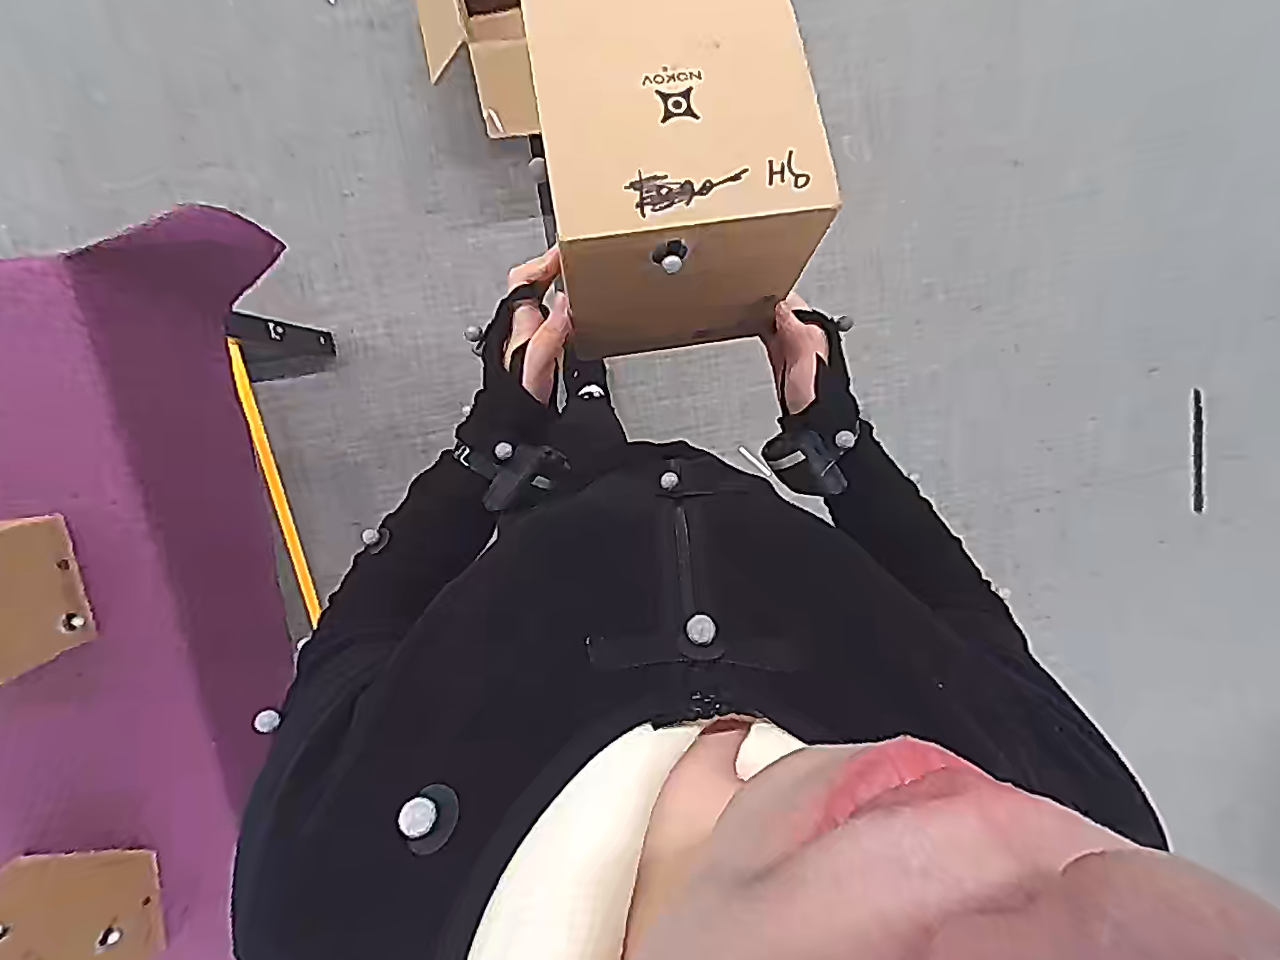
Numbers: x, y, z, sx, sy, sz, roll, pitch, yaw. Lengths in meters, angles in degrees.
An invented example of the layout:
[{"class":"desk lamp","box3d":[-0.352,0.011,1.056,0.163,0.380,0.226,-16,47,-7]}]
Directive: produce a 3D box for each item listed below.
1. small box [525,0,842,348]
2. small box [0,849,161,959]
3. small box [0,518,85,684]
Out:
[{"class":"small box","box3d":[0.017,-0.218,0.392,0.168,0.176,0.179,-9,80,-4]},{"class":"small box","box3d":[-0.752,0.602,0.681,0.179,0.176,0.168,2,98,-6]},{"class":"small box","box3d":[-0.786,0.145,0.602,0.179,0.176,0.168,-6,100,-4]}]
